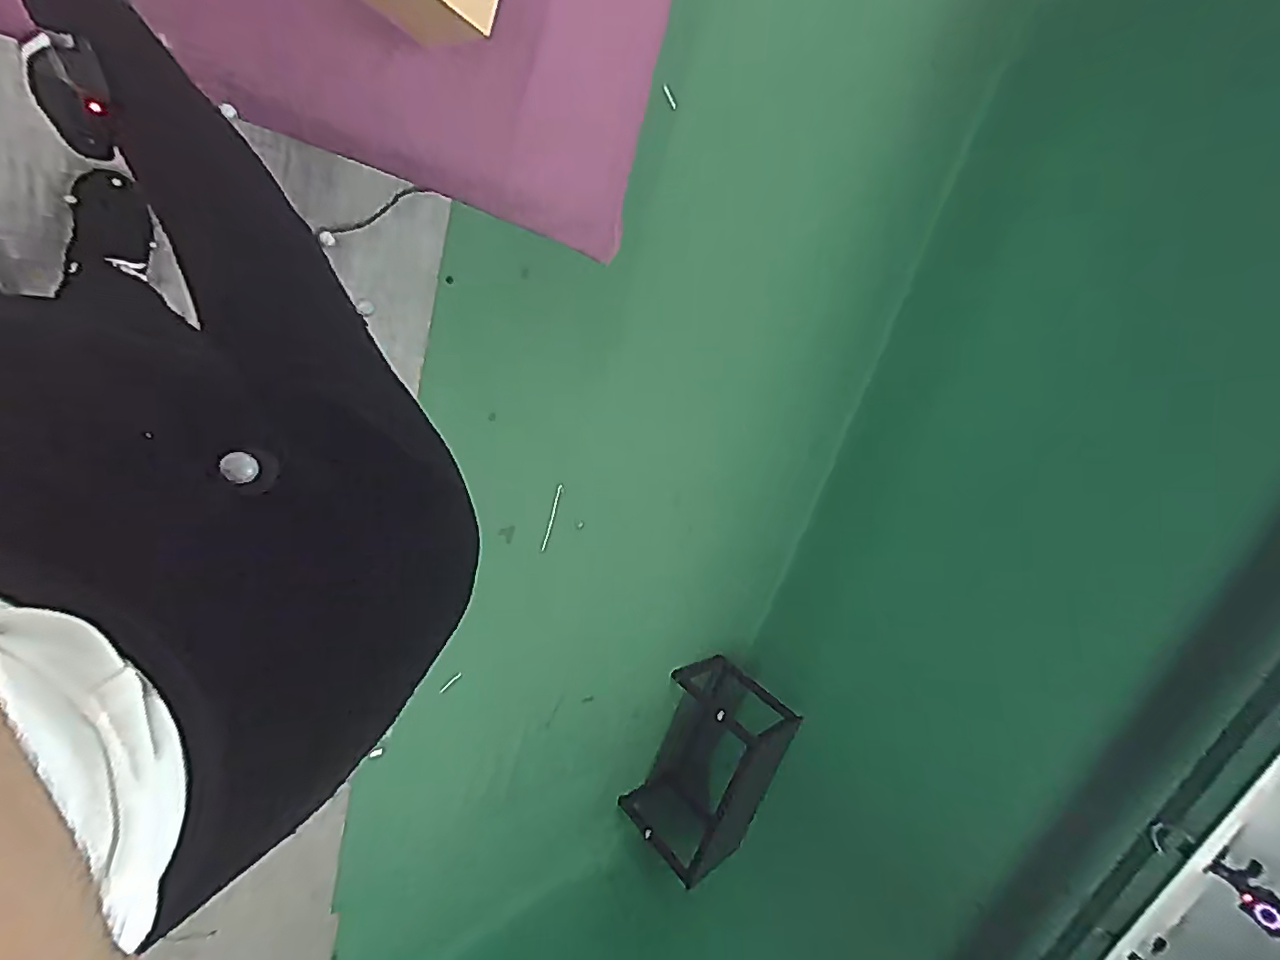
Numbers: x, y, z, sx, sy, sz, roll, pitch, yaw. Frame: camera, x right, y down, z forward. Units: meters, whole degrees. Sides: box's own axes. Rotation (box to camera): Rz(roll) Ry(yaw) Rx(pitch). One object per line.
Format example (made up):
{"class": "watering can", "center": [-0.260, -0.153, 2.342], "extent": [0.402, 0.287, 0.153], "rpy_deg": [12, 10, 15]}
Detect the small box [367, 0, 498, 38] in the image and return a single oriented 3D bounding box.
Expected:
{"class": "small box", "center": [-0.261, -0.637, 0.605], "extent": [0.179, 0.176, 0.168], "rpy_deg": [6, 110, -50]}

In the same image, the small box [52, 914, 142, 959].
{"class": "small box", "center": [-1.521, 1.383, 1.511], "extent": [0.179, 0.176, 0.168], "rpy_deg": [1, 114, -48]}
